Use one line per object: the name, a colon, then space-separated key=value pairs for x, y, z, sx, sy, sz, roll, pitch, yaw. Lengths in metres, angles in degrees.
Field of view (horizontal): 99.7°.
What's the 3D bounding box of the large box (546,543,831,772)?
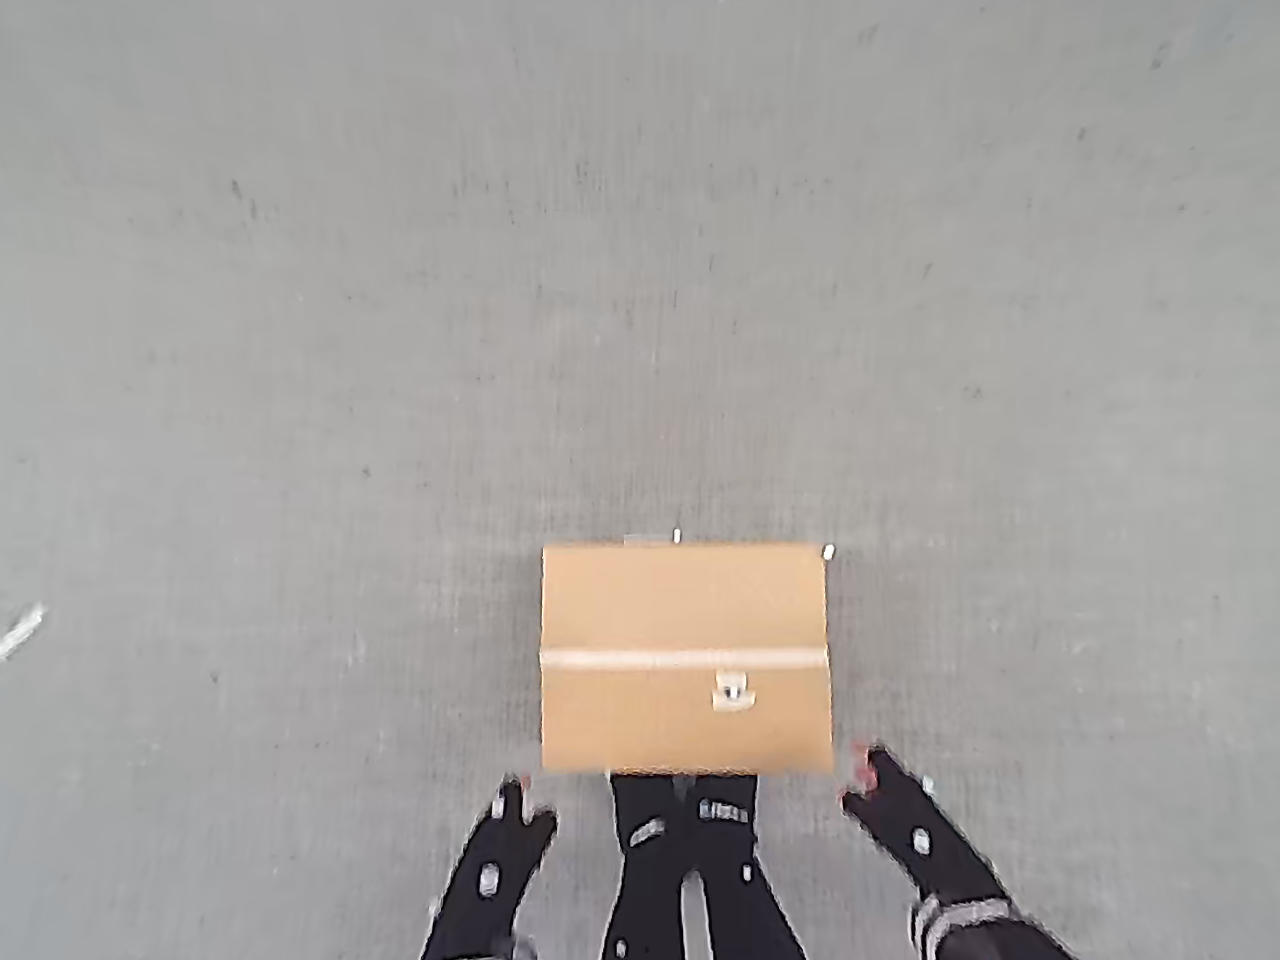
large box: x=0.066 y=0.269 z=0.920 sx=0.408 sy=0.320 sz=0.320 roll=-1 pitch=84 yaw=1
